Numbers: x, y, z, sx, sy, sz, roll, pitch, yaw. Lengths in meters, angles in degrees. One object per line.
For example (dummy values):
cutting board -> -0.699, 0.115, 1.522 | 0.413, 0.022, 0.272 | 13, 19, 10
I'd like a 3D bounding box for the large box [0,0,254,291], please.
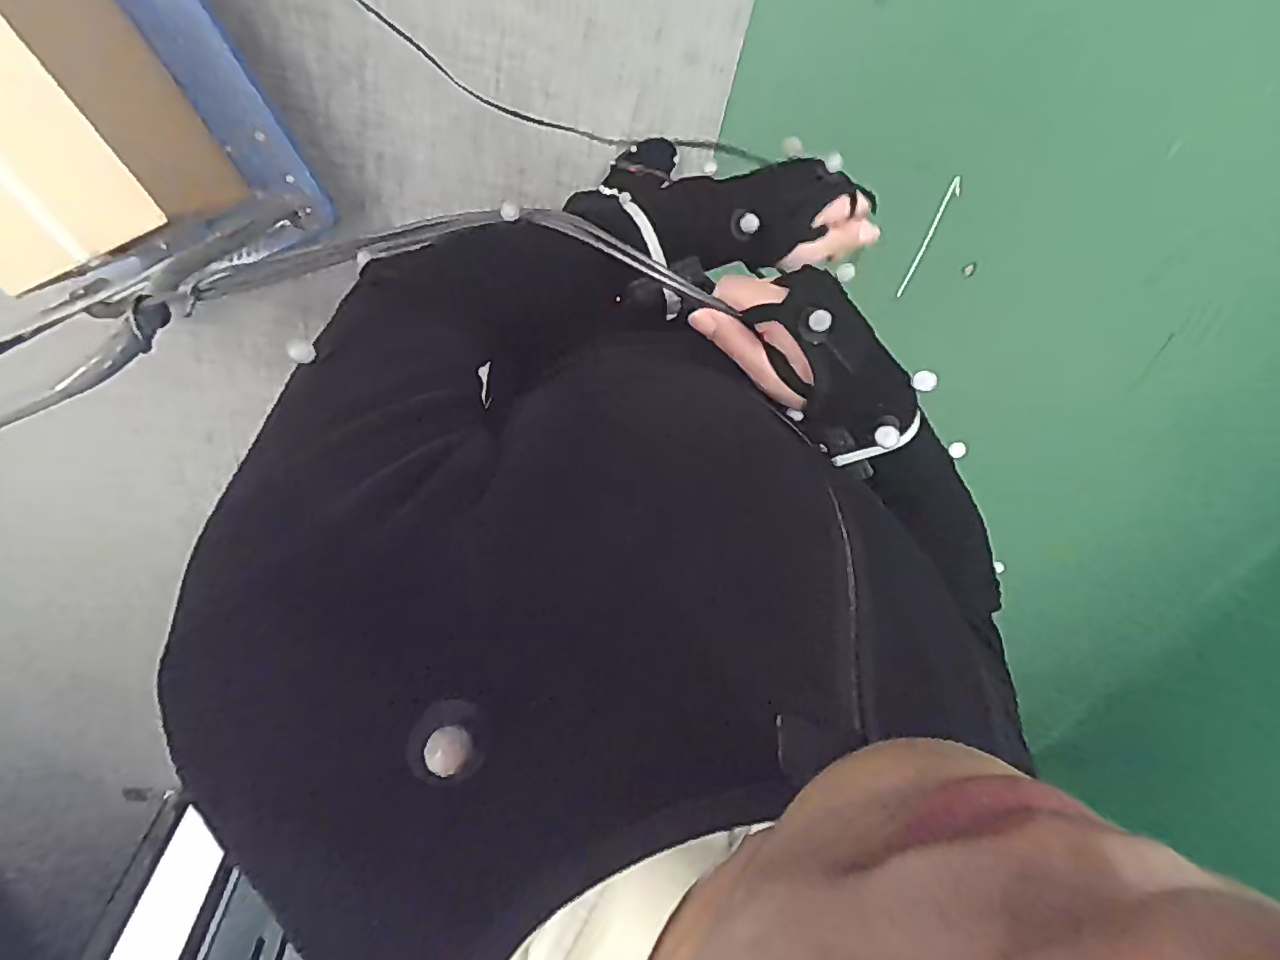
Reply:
large box -> -0.963, -0.587, 0.874 | 0.320, 0.320, 0.408 | -21, 124, 5
